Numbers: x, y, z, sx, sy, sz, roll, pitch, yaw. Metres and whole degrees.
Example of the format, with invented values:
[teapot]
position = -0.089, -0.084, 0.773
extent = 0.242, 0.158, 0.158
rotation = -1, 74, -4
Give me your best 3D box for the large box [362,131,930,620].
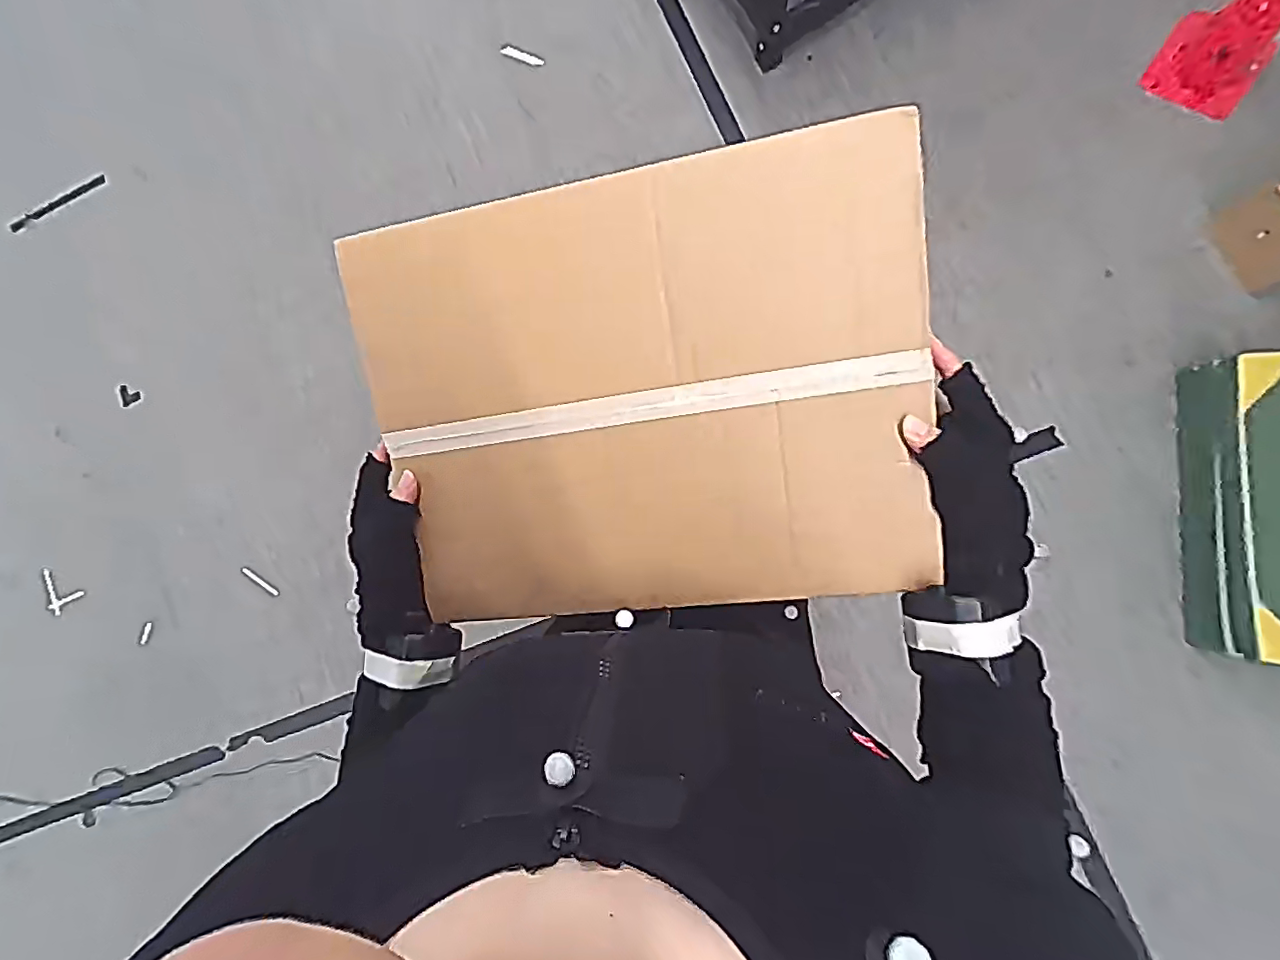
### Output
[large box]
position = 0.021, -0.081, 0.554
extent = 0.408, 0.320, 0.320
rotation = -7, 102, 11
